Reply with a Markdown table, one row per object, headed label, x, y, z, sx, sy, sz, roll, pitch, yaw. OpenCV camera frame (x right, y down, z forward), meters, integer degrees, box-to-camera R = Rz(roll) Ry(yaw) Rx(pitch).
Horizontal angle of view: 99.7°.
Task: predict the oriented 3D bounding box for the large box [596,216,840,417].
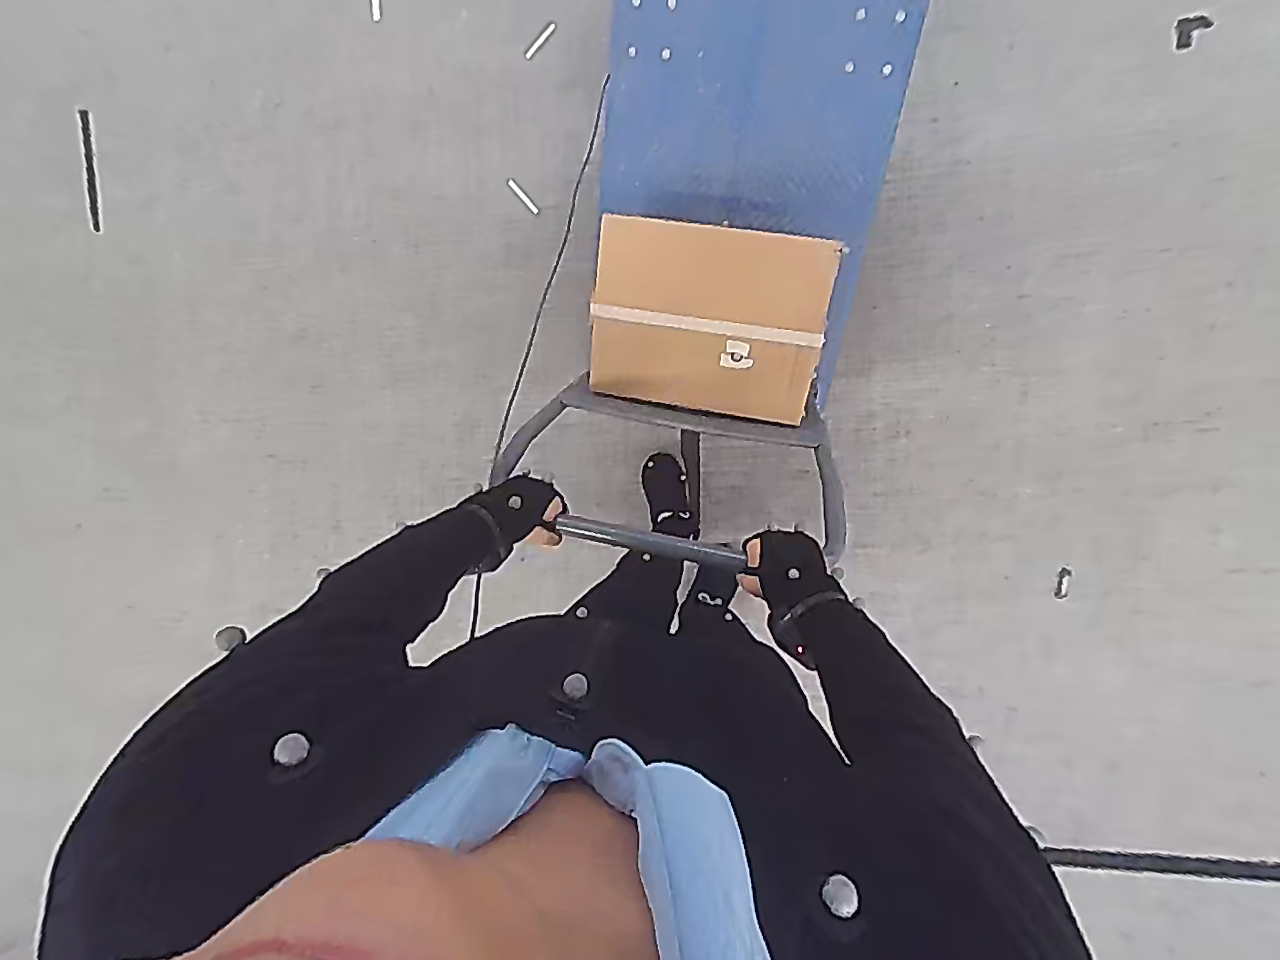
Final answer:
| label | x | y | z | sx | sy | sz | roll | pitch | yaw |
| --- | --- | --- | --- | --- | --- | --- | --- | --- | --- |
| large box | 0.146 | -0.341 | 1.105 | 0.408 | 0.320 | 0.320 | 10 | 115 | 7 |
